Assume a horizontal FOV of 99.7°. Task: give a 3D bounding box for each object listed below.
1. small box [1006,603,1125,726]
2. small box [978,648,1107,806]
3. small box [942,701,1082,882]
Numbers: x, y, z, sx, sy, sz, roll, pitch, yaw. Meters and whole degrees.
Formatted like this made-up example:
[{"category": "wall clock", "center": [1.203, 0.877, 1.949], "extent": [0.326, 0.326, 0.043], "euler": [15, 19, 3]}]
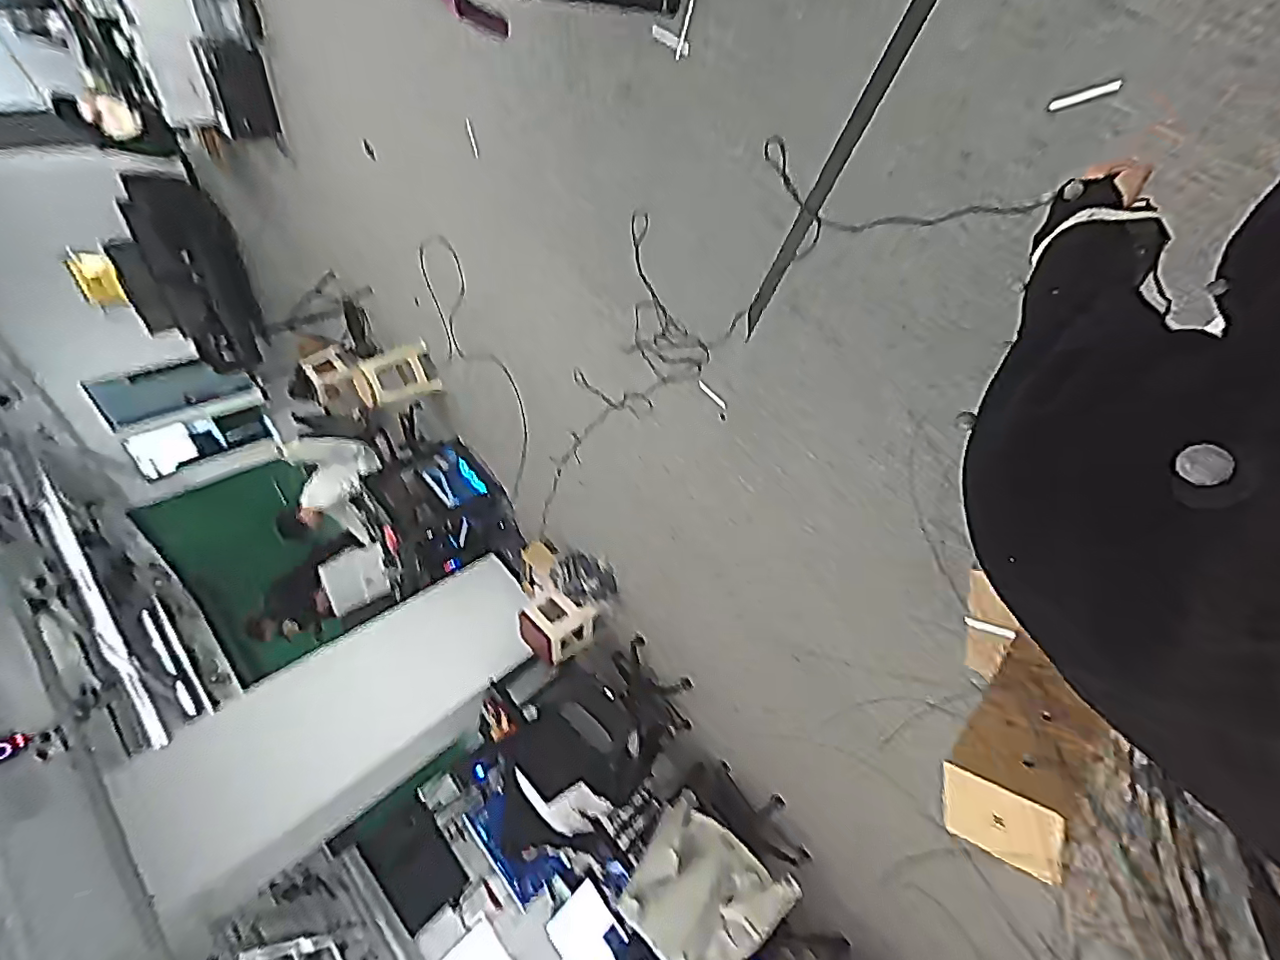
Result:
[{"category": "small box", "center": [0.877, 0.388, 1.121], "extent": [0.168, 0.176, 0.179], "euler": [11, 122, 47]}, {"category": "small box", "center": [0.762, 0.459, 1.028], "extent": [0.168, 0.176, 0.179], "euler": [11, 124, 47]}, {"category": "small box", "center": [0.643, 0.524, 0.937], "extent": [0.168, 0.176, 0.179], "euler": [11, 123, 47]}]
